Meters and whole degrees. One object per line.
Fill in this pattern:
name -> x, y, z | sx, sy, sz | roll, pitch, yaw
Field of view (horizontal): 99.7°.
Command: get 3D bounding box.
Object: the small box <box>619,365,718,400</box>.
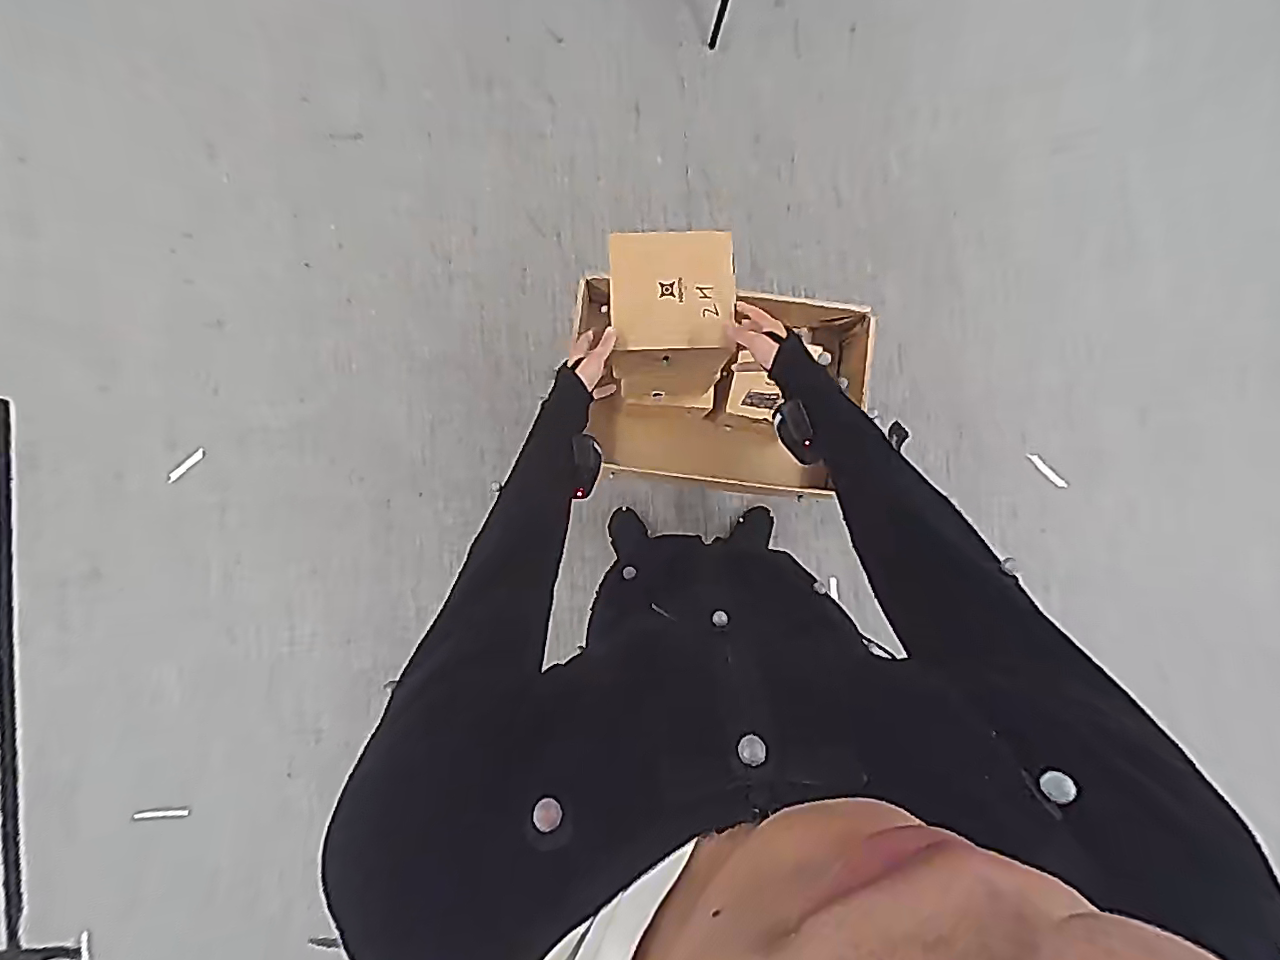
small box -> 0.044, -0.249, 0.988 | 0.168, 0.176, 0.179 | -2, 88, -2

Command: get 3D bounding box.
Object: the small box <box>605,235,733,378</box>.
small box -> 0.039, -0.254, 0.824 | 0.179, 0.176, 0.168 | -1, 88, -2
